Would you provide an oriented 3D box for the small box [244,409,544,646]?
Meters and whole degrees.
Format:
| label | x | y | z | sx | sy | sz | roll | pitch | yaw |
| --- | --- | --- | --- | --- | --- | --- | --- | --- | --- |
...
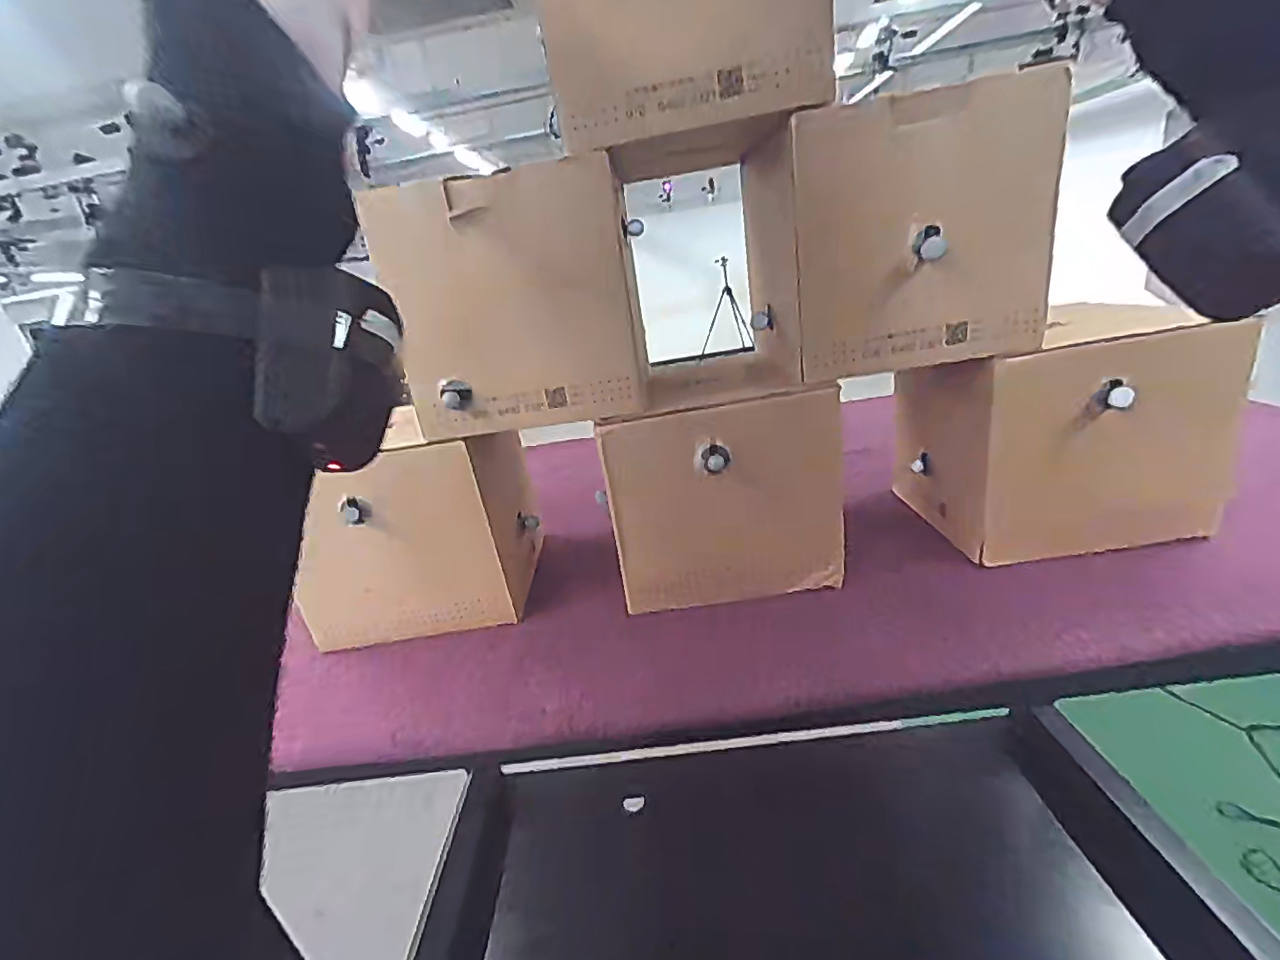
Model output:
| label | x | y | z | sx | sy | sz | roll | pitch | yaw |
| --- | --- | --- | --- | --- | --- | --- | --- | --- | --- |
| small box | -0.203 | 0.034 | 0.506 | 0.179 | 0.176 | 0.168 | -9 | 22 | 2 |

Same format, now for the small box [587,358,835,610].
| label | x | y | z | sx | sy | sz | roll | pitch | yaw |
| --- | --- | --- | --- | --- | --- | --- | --- | --- | --- |
| small box | 0.061 | -0.001 | 0.479 | 0.179 | 0.176 | 0.168 | -8 | 21 | 4 |

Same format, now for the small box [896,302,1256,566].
| label | x | y | z | sx | sy | sz | roll | pitch | yaw |
| --- | --- | --- | --- | --- | --- | --- | --- | --- | --- |
| small box | 0.336 | -0.046 | 0.463 | 0.179 | 0.176 | 0.168 | -10 | 21 | 4 |

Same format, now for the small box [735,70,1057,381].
| label | x | y | z | sx | sy | sz | roll | pitch | yaw |
| --- | --- | --- | --- | --- | --- | --- | --- | --- | --- |
| small box | 0.176 | -0.178 | 0.422 | 0.168 | 0.176 | 0.179 | -9 | 22 | 3 |

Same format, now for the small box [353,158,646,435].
| label | x | y | z | sx | sy | sz | roll | pitch | yaw |
| --- | --- | --- | --- | --- | --- | --- | --- | --- | --- |
| small box | -0.088 | -0.139 | 0.442 | 0.168 | 0.176 | 0.179 | -7 | 21 | 5 |
